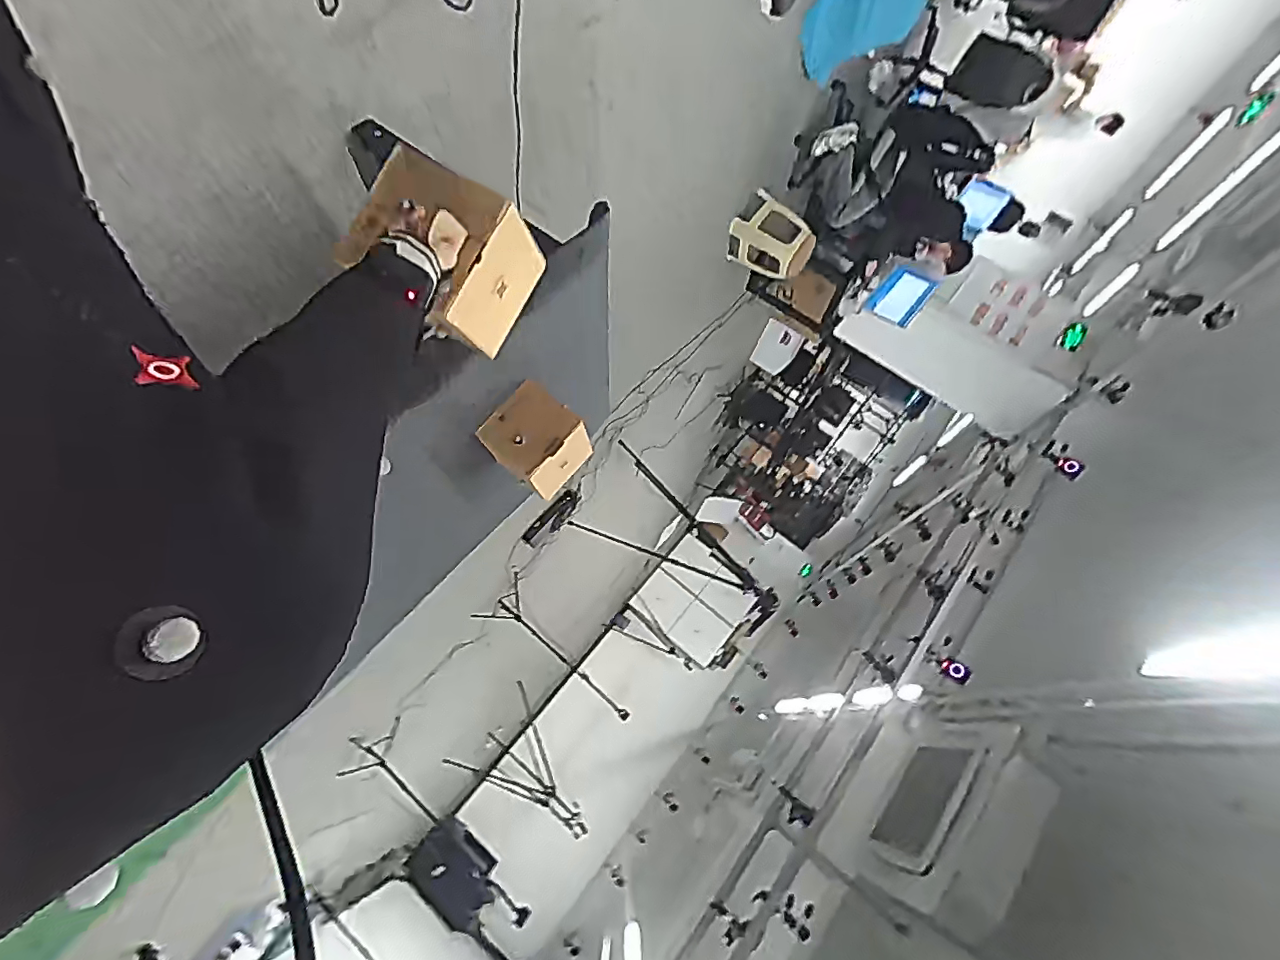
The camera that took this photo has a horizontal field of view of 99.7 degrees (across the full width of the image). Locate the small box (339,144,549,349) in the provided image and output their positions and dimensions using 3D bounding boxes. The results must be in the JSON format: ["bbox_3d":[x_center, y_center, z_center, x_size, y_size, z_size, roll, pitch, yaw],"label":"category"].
[{"bbox_3d":[-0.253,-0.305,0.727,0.168,0.176,0.179,-61,175,2],"label":"small box"}]

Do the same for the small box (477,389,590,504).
[{"bbox_3d":[-0.234,-0.077,1.205,0.168,0.176,0.179,-48,167,-13],"label":"small box"}]
